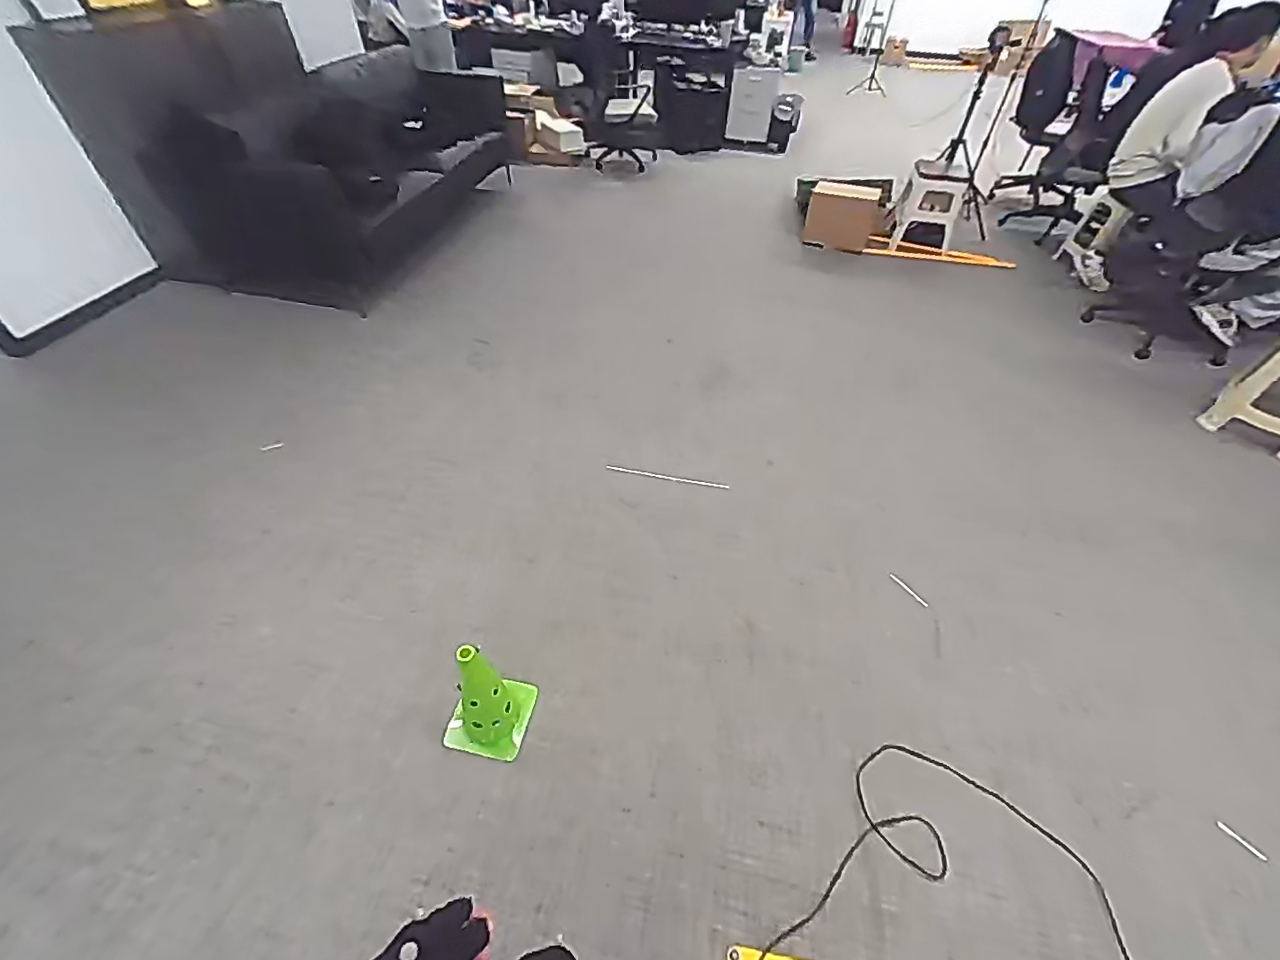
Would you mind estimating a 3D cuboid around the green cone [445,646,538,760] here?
[{"bbox_3d":[-0.385,0.507,1.314,0.202,0.368,0.200,10,47,6],"label":"green cone"}]
